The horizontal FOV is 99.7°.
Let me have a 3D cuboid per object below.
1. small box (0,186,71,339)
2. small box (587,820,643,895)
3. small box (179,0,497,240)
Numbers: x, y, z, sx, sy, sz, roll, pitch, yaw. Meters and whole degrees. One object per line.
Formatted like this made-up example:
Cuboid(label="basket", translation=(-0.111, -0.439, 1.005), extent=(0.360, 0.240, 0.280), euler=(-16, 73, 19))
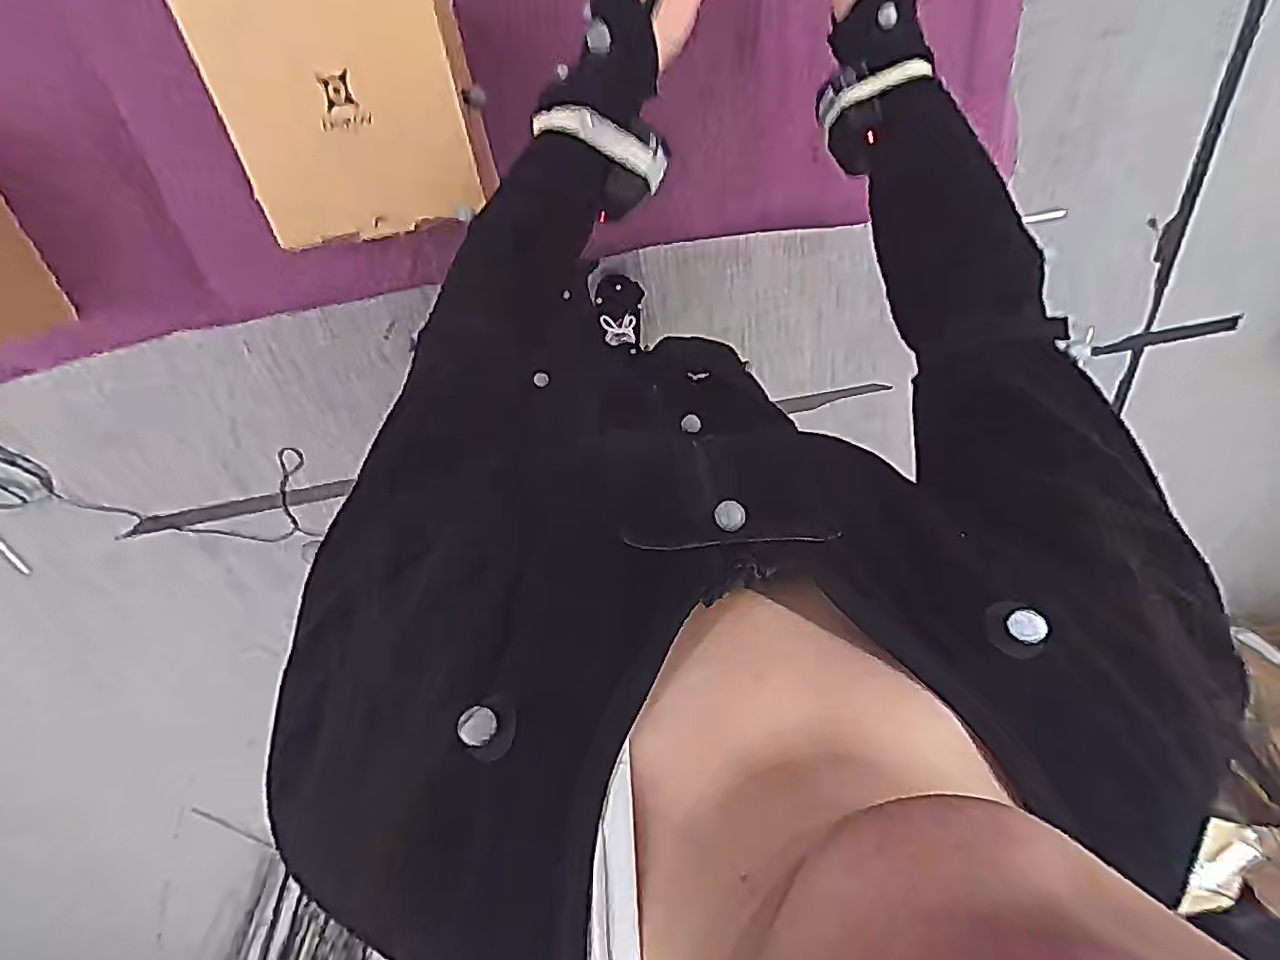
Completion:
Cuboid(label="small box", translation=(-0.657, -0.192, 0.446), extent=(0.168, 0.176, 0.179), euler=(-11, 122, -5))
Cuboid(label="small box", translation=(-0.097, 1.430, 2.055), extent=(0.179, 0.176, 0.168), euler=(-12, 121, -3))
Cuboid(label="small box", translation=(-0.226, -0.317, 0.457), extent=(0.168, 0.176, 0.179), euler=(-12, 122, -4))
